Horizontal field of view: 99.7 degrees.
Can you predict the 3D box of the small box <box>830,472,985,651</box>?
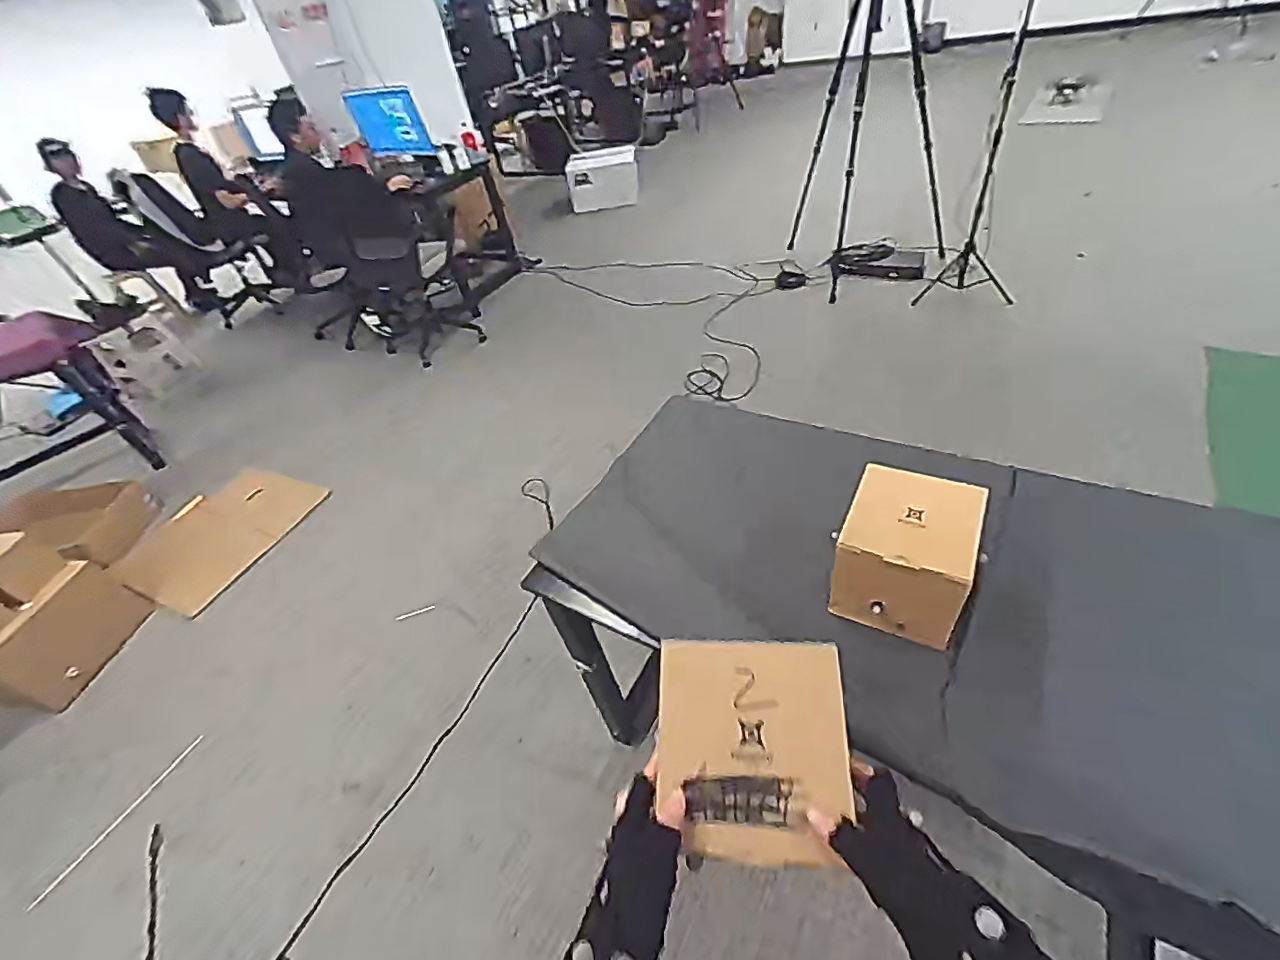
[{"bbox_3d":[0.394,0.121,0.814,0.168,0.176,0.179,16,51,26],"label":"small box"}]
